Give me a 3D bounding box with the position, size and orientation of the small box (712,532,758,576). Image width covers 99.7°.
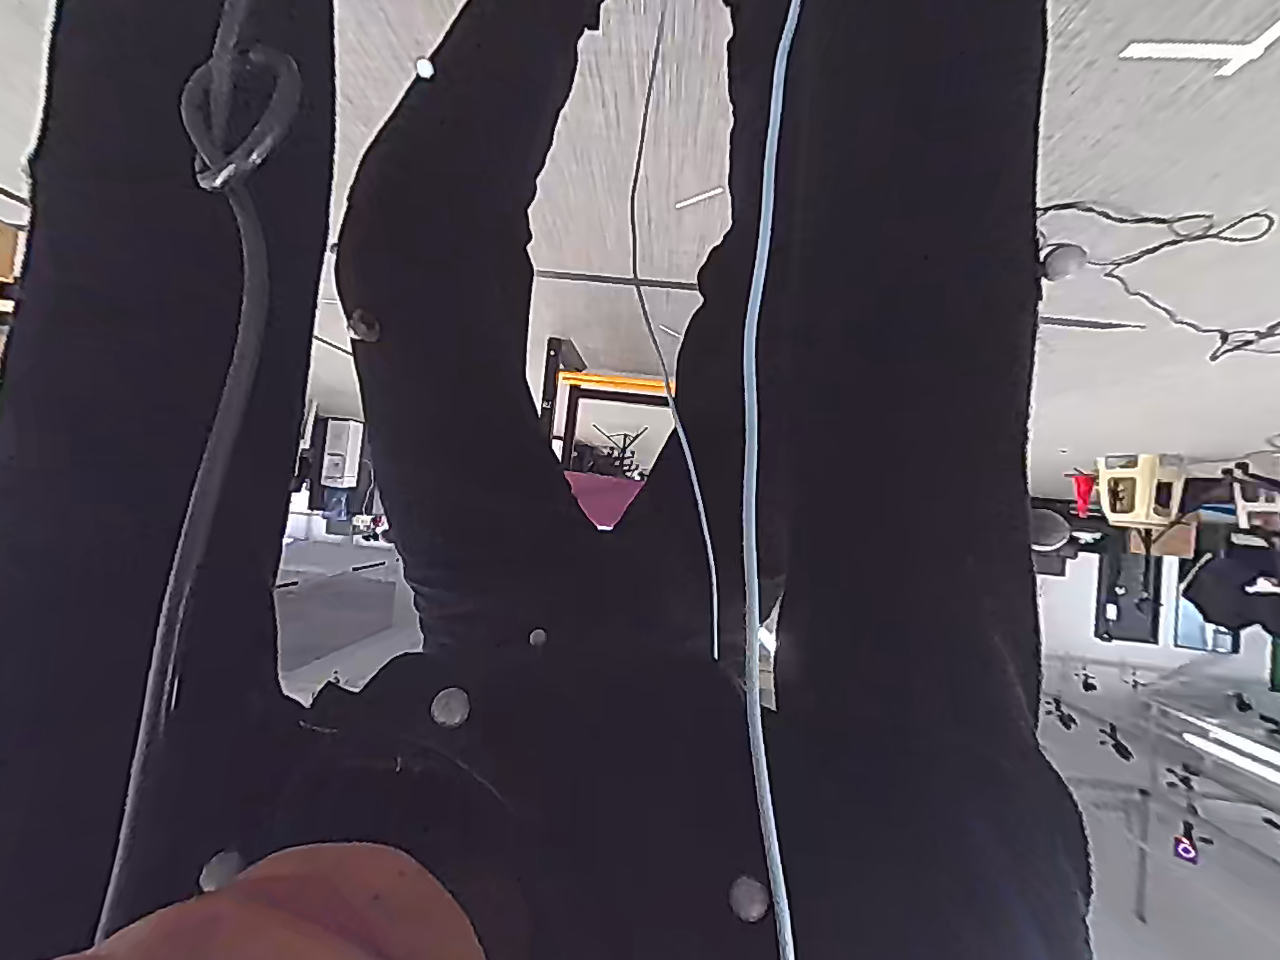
[{"bbox_3d":[0.411,0.315,2.339,0.168,0.176,0.179,6,178,-1],"label":"small box"}]

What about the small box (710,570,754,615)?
[{"bbox_3d":[0.399,0.479,2.344,0.168,0.176,0.179,6,178,3],"label":"small box"}]
